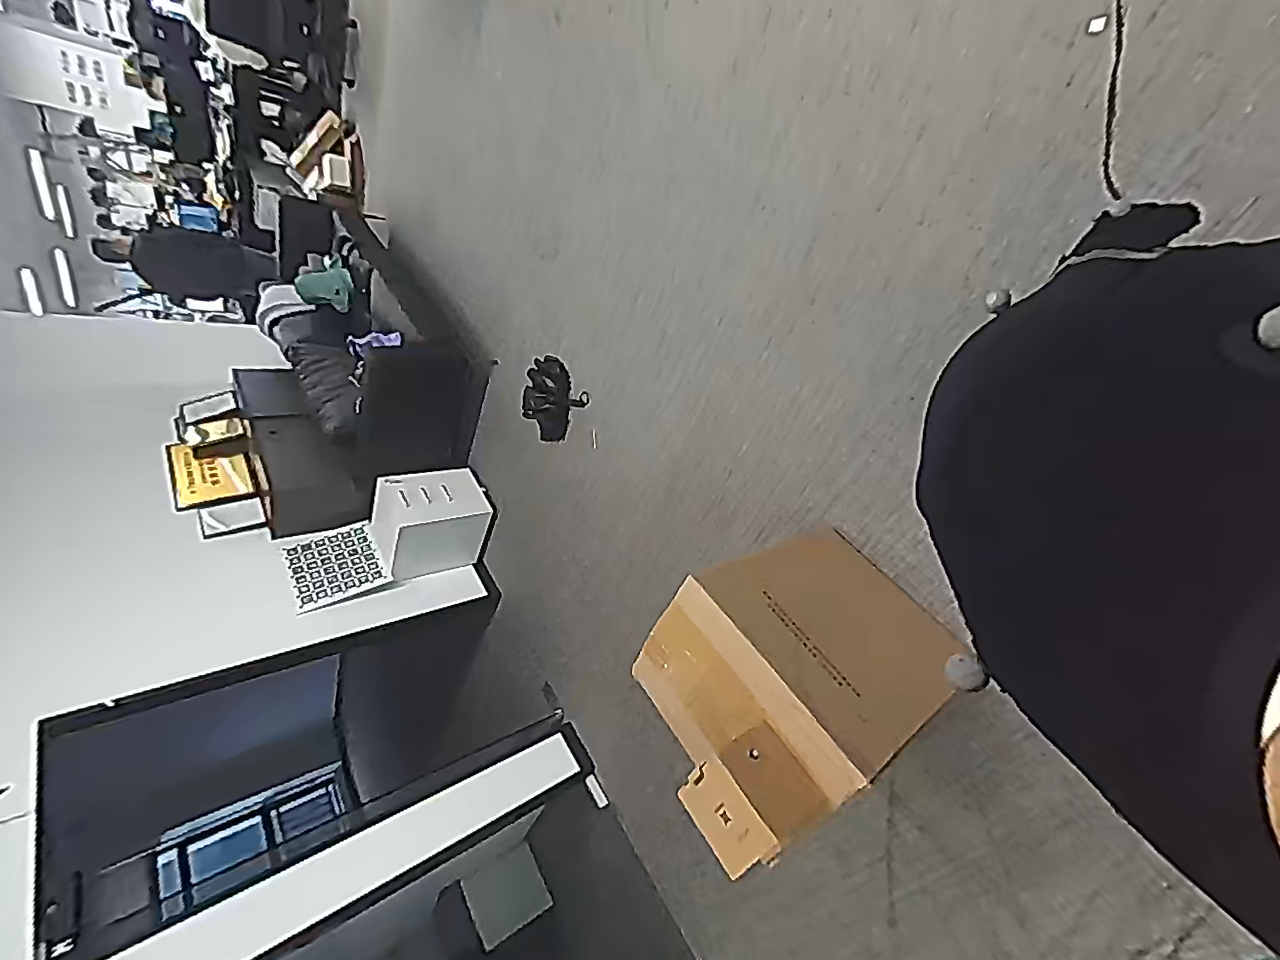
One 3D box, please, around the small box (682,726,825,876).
[{"bbox_3d":[0.221,0.615,1.062,0.179,0.176,0.168,47,126,32],"label":"small box"}]
